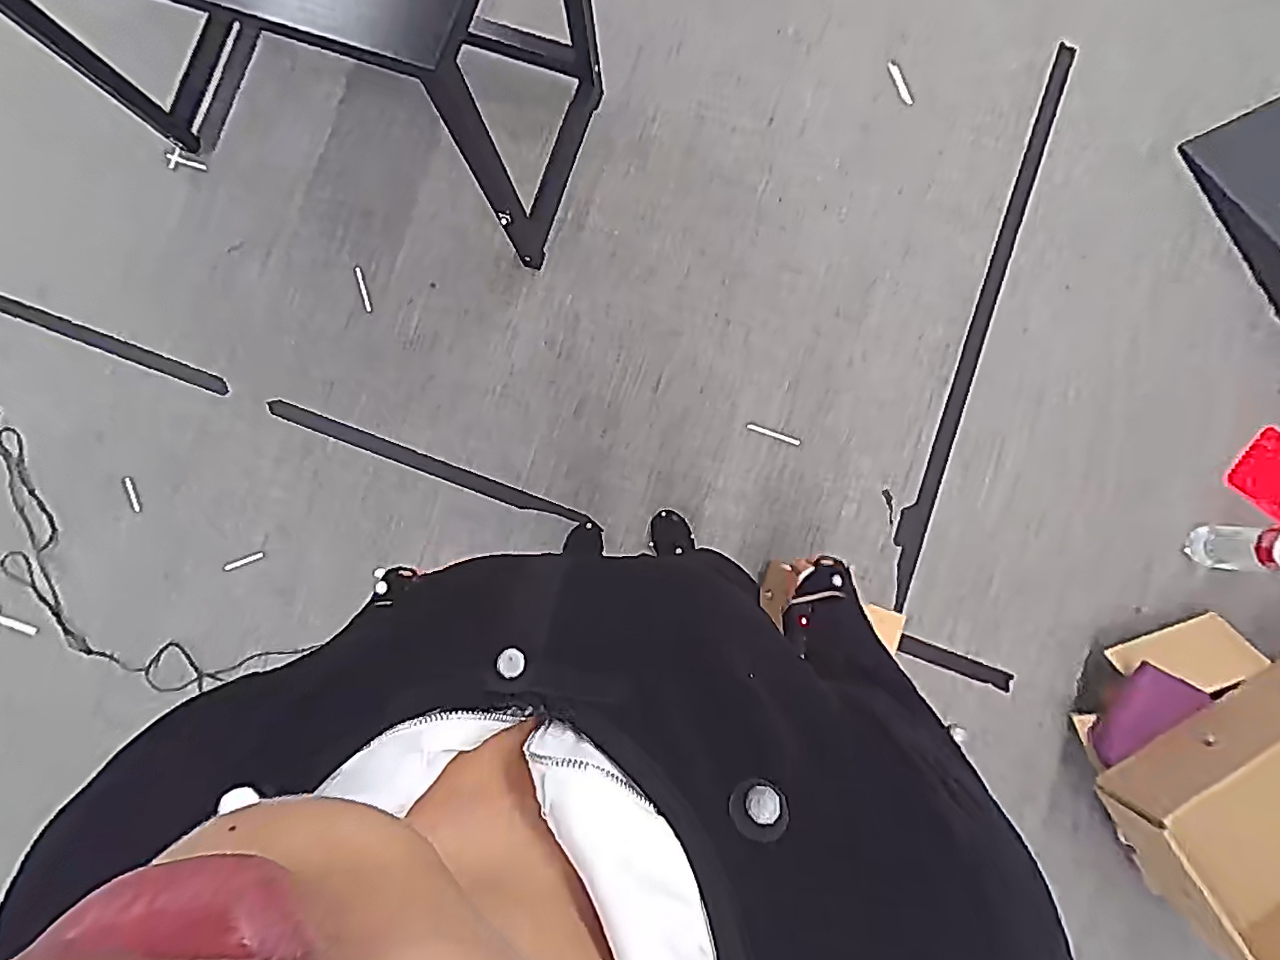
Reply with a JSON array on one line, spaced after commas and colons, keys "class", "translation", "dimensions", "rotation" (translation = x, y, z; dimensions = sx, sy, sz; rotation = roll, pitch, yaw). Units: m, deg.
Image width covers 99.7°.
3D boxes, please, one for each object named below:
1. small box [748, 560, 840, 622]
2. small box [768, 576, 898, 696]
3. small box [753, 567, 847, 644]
[{"class": "small box", "translation": [0.389, 0.316, 1.397], "dimensions": [0.168, 0.176, 0.179], "rotation": [20, 87, 4]}, {"class": "small box", "translation": [0.370, 0.296, 1.072], "dimensions": [0.179, 0.176, 0.168], "rotation": [19, 88, 3]}, {"class": "small box", "translation": [0.375, 0.305, 1.234], "dimensions": [0.179, 0.176, 0.168], "rotation": [20, 87, 4]}]
